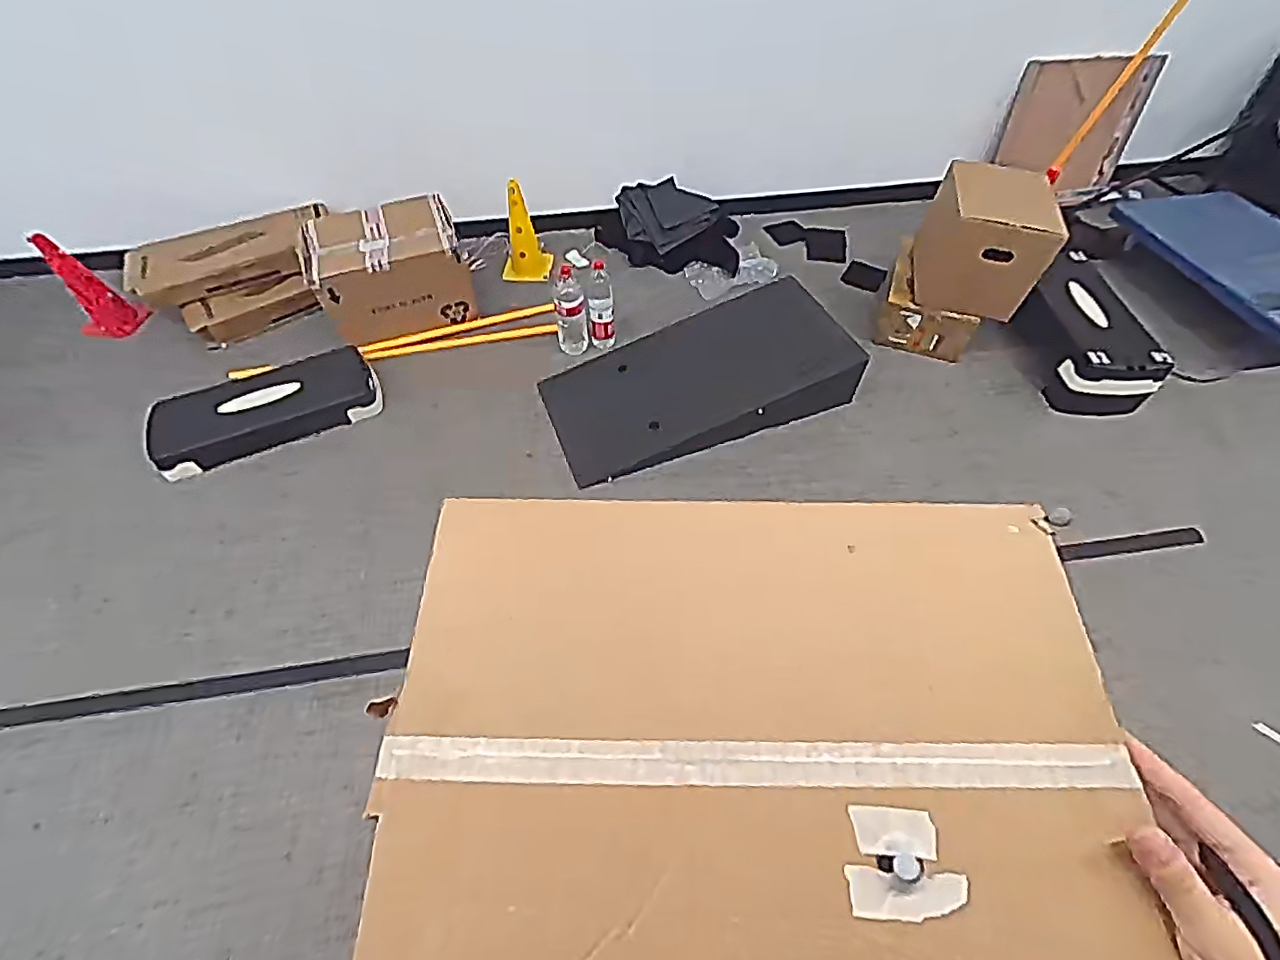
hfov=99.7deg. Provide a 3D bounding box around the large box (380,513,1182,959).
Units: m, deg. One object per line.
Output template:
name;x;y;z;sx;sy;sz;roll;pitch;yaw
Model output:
large box;0.067;0.228;0.439;0.408;0.320;0.320;1;64;0
